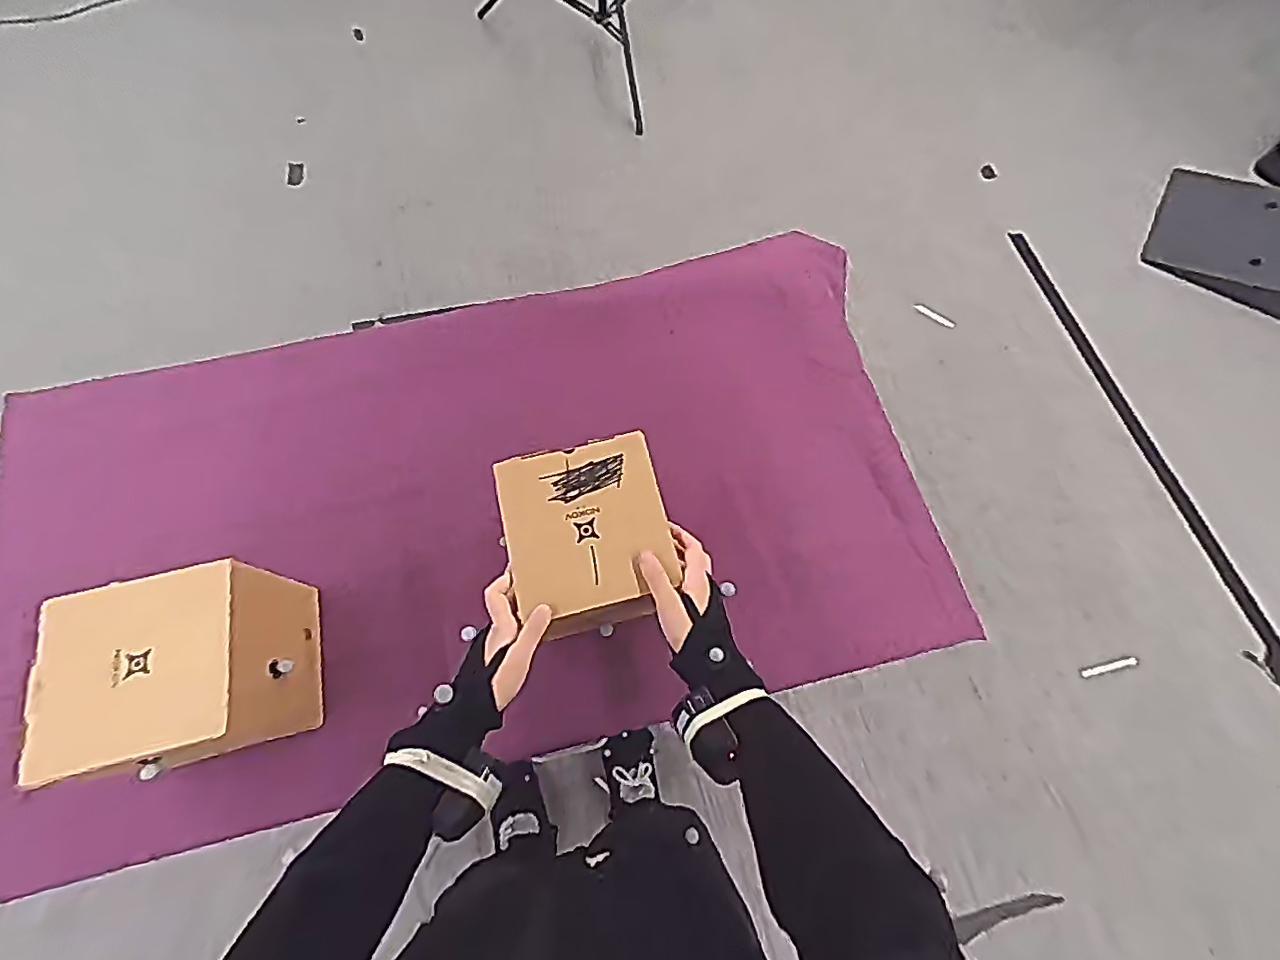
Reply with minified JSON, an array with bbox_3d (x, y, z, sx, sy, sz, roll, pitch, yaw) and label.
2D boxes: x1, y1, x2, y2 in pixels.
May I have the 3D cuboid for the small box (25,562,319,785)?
[{"bbox_3d":[-0.468,0.200,0.577,0.179,0.176,0.168,-13,70,-5],"label":"small box"}]

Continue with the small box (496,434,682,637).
[{"bbox_3d":[-0.058,0.072,0.630,0.168,0.176,0.179,-13,71,-6],"label":"small box"}]
